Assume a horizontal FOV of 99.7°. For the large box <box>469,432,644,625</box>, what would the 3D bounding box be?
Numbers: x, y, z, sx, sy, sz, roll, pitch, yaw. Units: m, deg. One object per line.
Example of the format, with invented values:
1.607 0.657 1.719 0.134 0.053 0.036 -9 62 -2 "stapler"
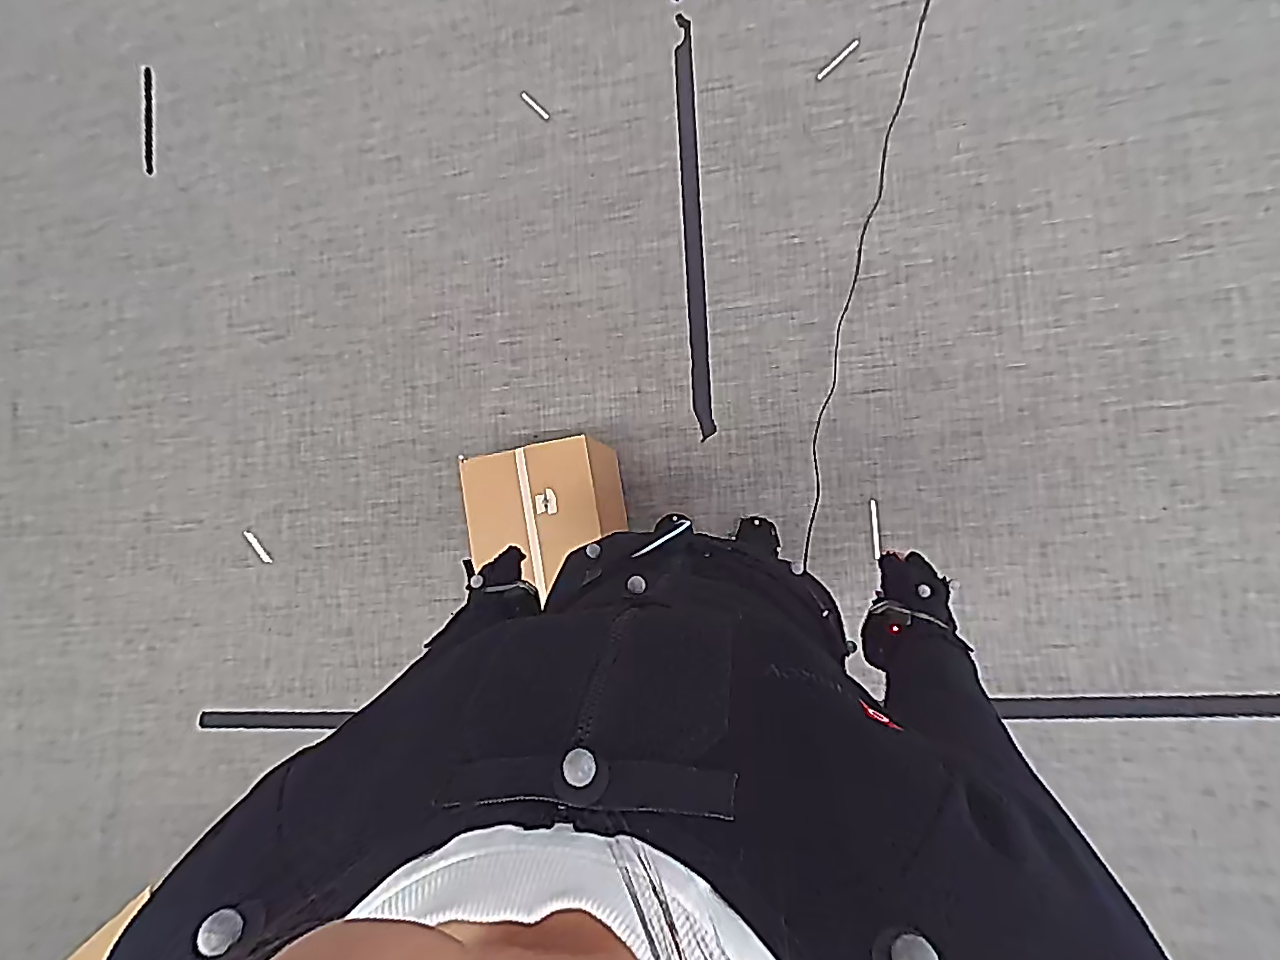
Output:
-0.196 0.125 1.376 0.320 0.320 0.408 -11 83 10 "large box"
